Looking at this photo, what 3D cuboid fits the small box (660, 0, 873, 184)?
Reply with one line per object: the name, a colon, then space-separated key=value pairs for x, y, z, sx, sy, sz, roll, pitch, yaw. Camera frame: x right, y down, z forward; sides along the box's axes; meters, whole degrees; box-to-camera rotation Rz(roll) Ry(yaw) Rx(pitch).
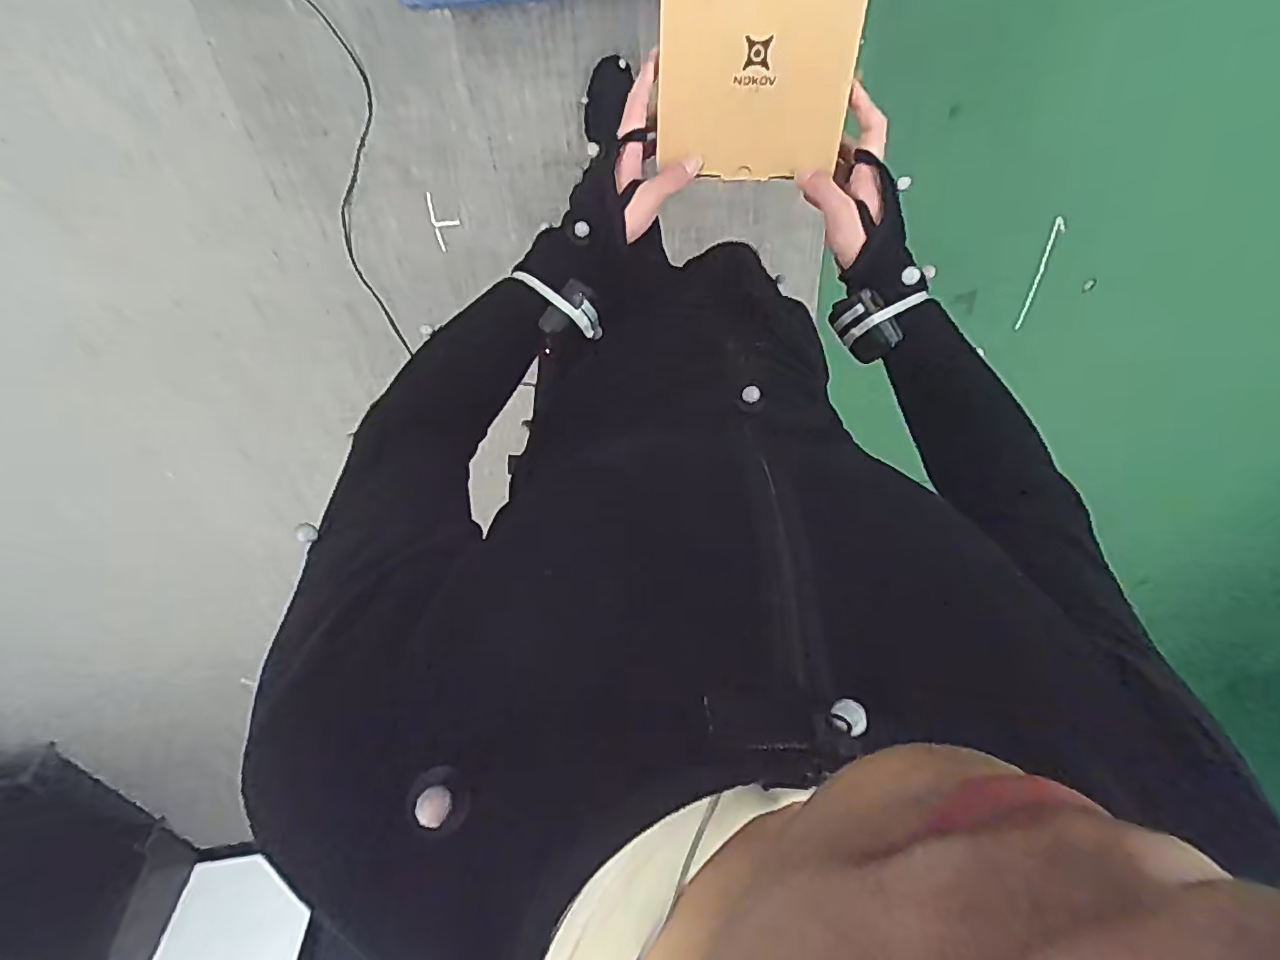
small box: x=0.106 y=-0.394 z=0.517 sx=0.168 sy=0.176 sz=0.179 roll=3 pitch=126 yaw=3
